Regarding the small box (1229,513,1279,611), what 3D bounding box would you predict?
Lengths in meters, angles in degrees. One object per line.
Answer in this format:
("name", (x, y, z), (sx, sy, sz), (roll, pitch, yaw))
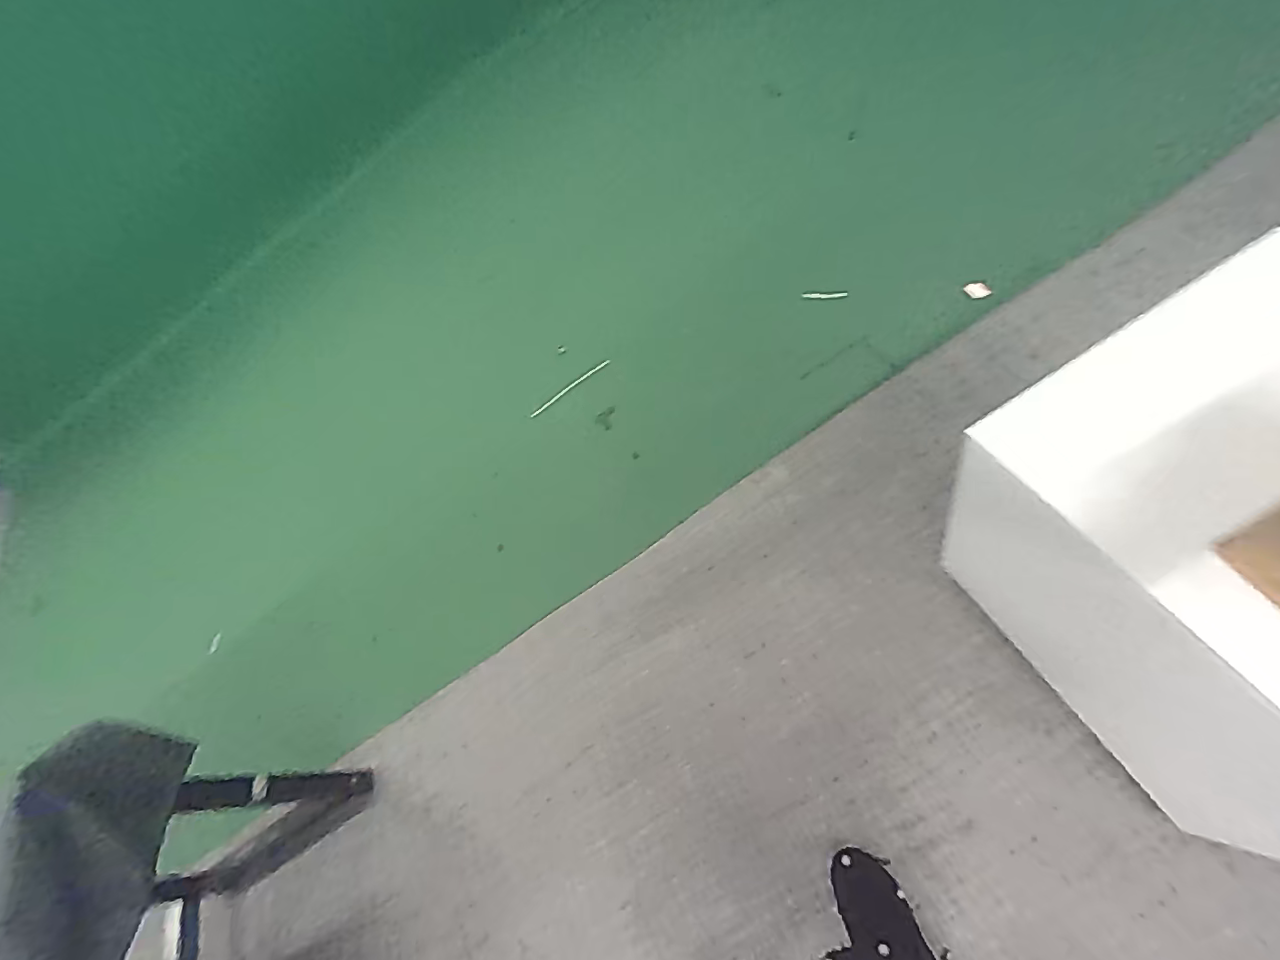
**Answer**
("small box", (0.615, 0.054, 0.389), (0.179, 0.176, 0.168), (-31, 57, 9))
